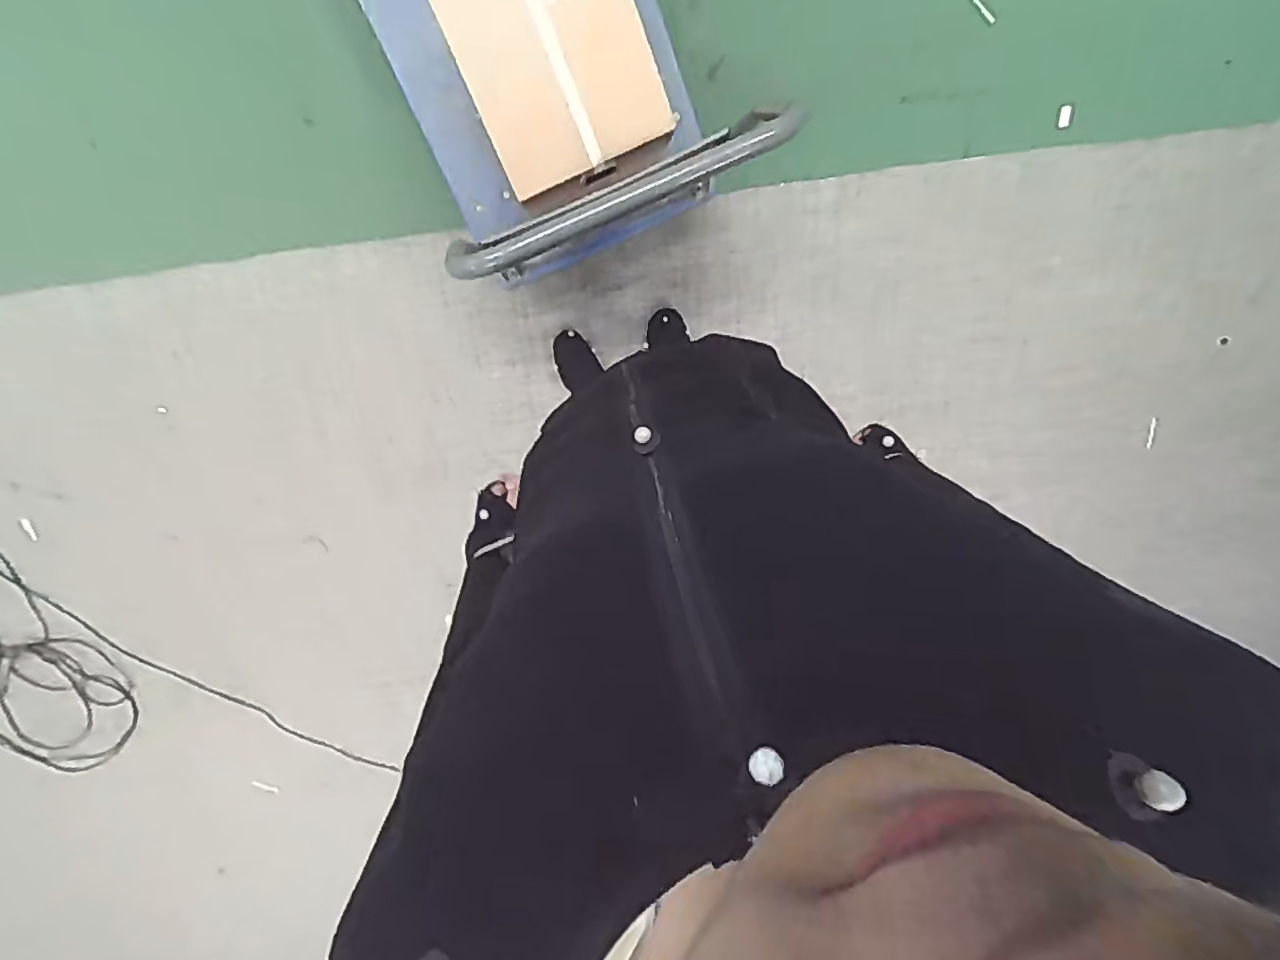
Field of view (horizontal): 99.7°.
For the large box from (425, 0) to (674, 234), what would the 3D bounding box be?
[{"bbox_3d":[-0.160,-0.767,1.071,0.320,0.320,0.408,-23,107,3],"label":"large box"}]
